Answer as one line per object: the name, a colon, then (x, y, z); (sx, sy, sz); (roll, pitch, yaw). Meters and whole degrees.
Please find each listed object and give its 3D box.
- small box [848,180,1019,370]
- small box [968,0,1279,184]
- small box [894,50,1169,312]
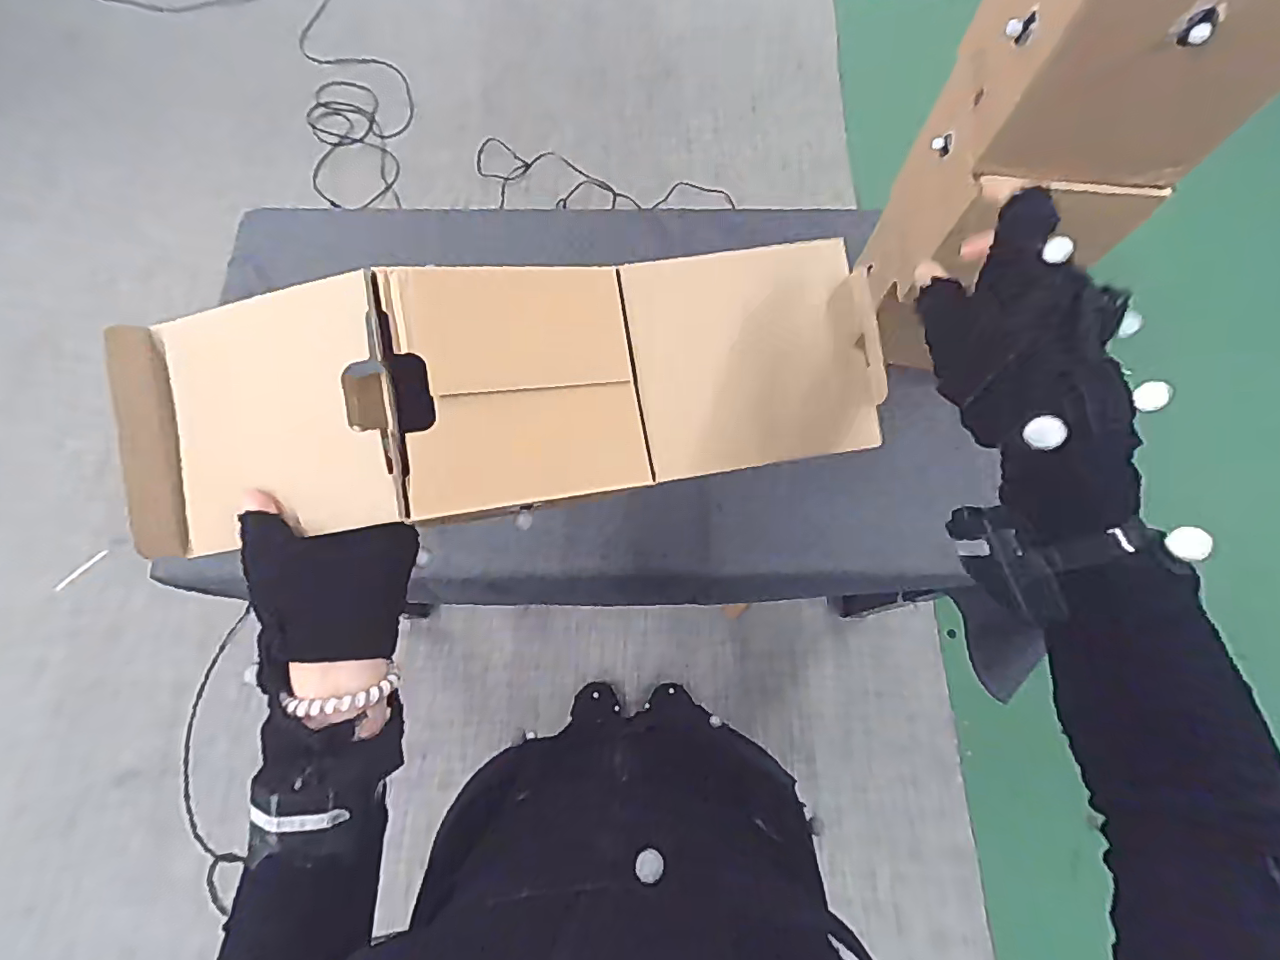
small box: (0.400, -0.270, 0.737); (0.179, 0.176, 0.168); (11, 71, 4)
small box: (0.384, -0.364, 0.424); (0.179, 0.176, 0.168); (7, 72, 3)
small box: (0.389, -0.308, 0.577); (0.168, 0.176, 0.179); (5, 72, 3)
